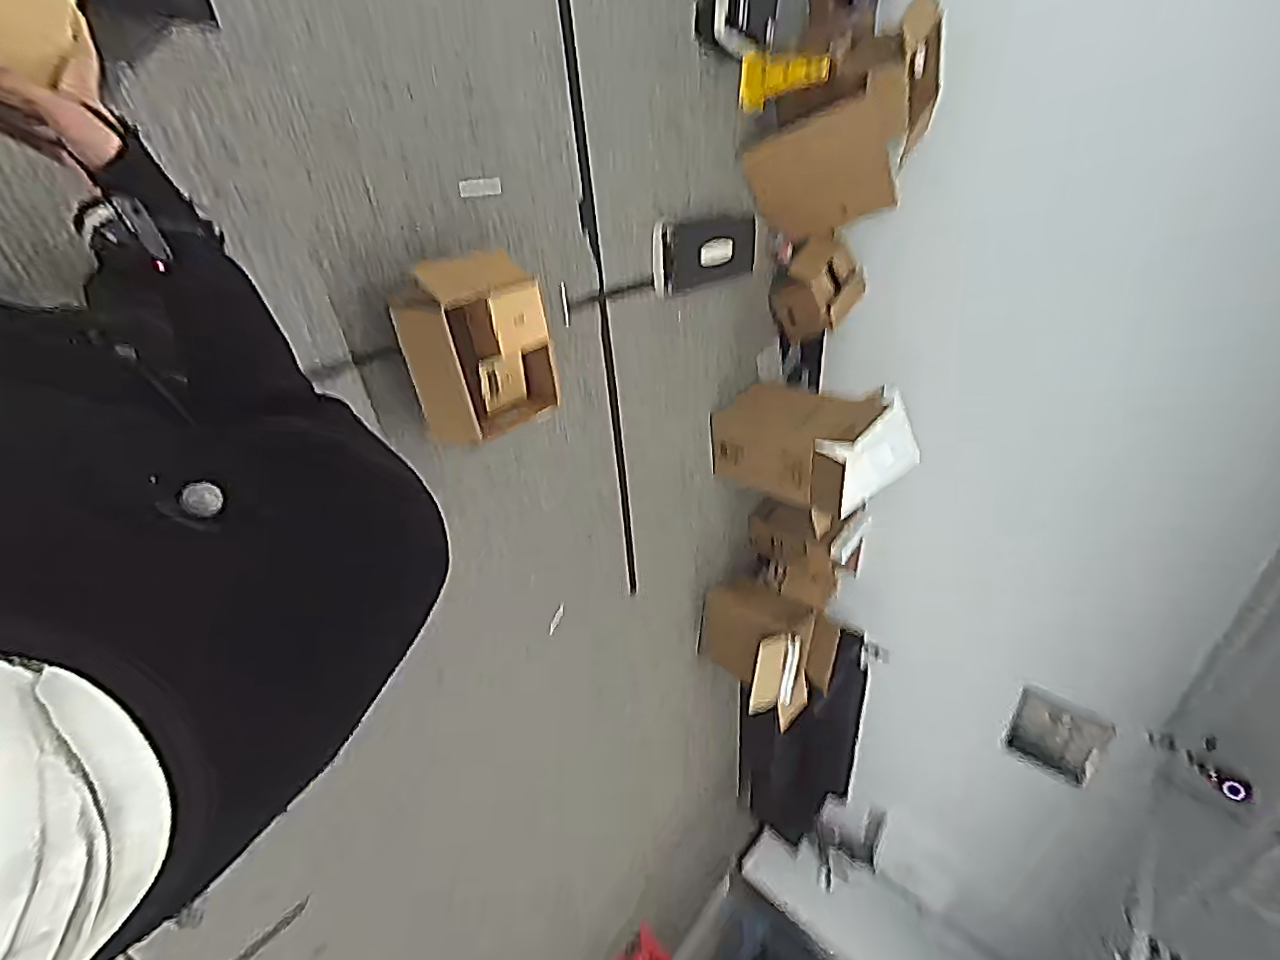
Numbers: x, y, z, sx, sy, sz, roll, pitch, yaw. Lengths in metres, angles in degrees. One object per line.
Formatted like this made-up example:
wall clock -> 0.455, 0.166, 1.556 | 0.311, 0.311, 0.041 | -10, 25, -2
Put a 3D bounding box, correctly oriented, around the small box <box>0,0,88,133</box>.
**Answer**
small box -> -0.556, -0.394, 0.405 | 0.168, 0.176, 0.179 | 0, 107, -60
